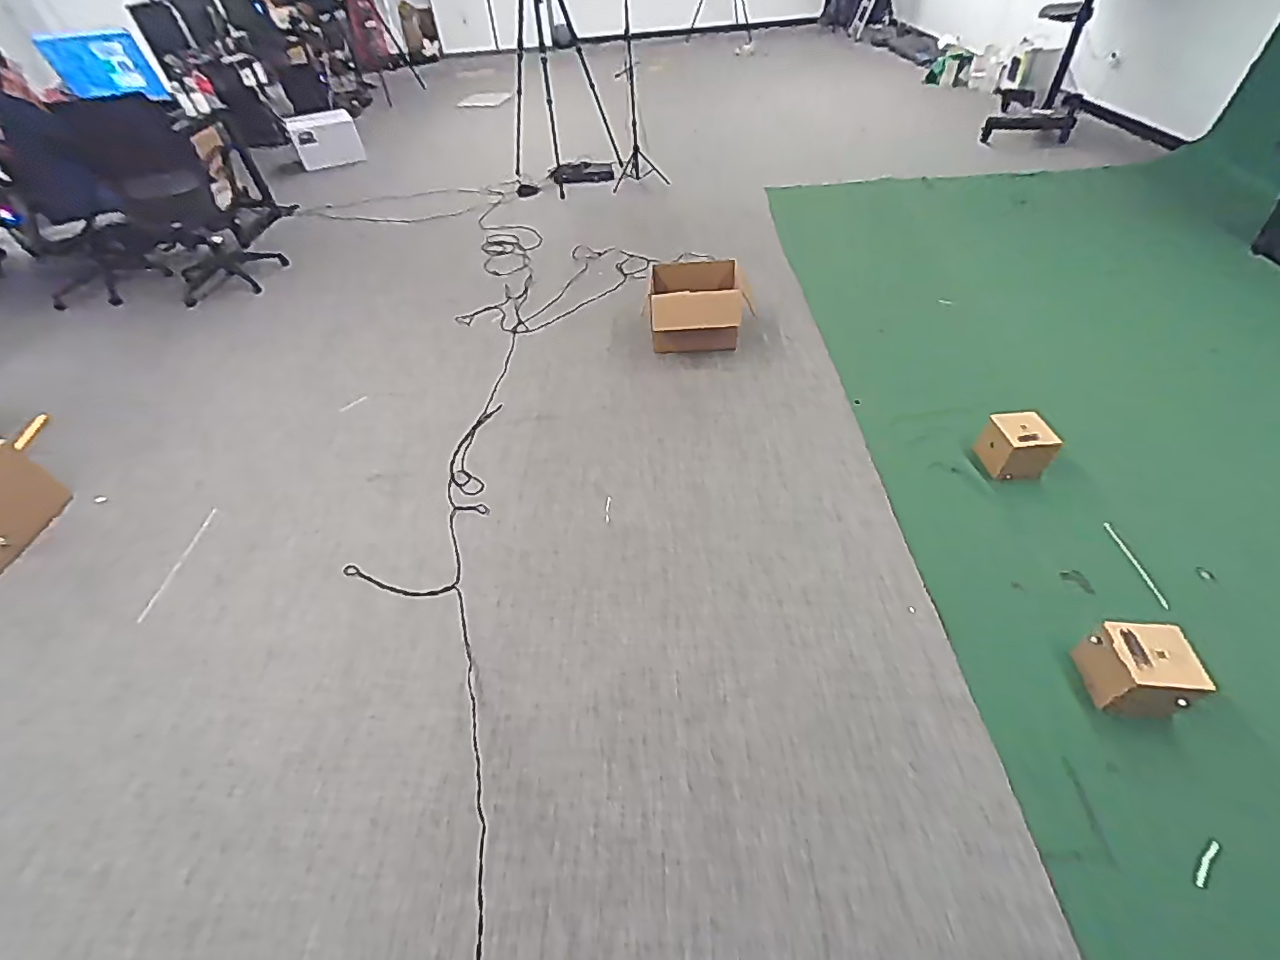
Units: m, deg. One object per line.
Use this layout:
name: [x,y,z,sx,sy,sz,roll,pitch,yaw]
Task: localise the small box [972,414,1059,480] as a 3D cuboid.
small box: [1.328,-0.113,1.926,0.168,0.176,0.179,-4,45,1]
